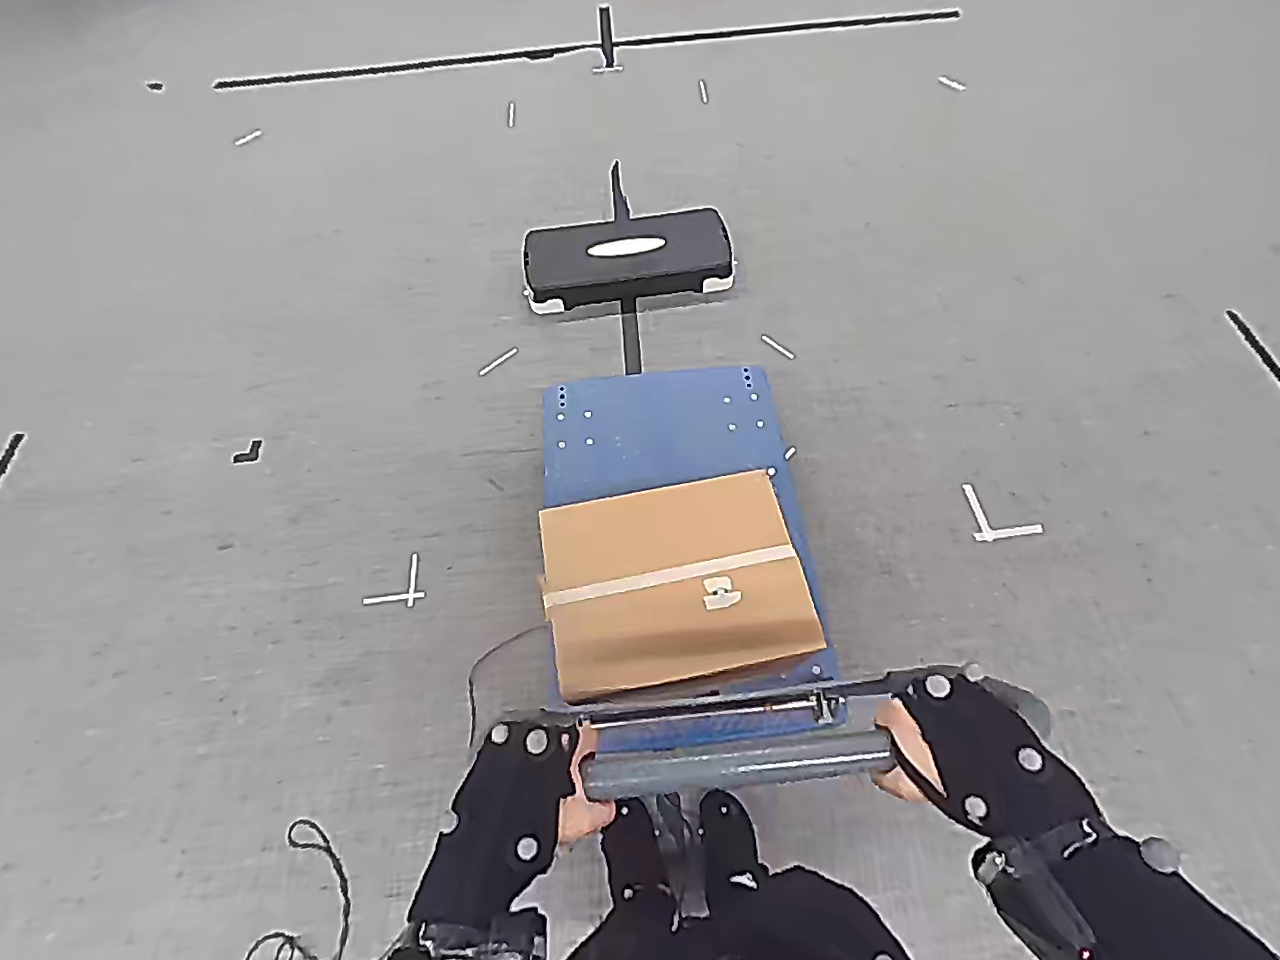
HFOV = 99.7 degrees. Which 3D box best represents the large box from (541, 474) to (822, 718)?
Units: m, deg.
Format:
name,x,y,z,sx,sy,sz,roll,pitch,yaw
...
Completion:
name,x,y,z,sx,sy,sz,roll,pitch,yaw
large box,0.055,0.227,1.001,0.408,0.320,0.320,-11,64,-5
